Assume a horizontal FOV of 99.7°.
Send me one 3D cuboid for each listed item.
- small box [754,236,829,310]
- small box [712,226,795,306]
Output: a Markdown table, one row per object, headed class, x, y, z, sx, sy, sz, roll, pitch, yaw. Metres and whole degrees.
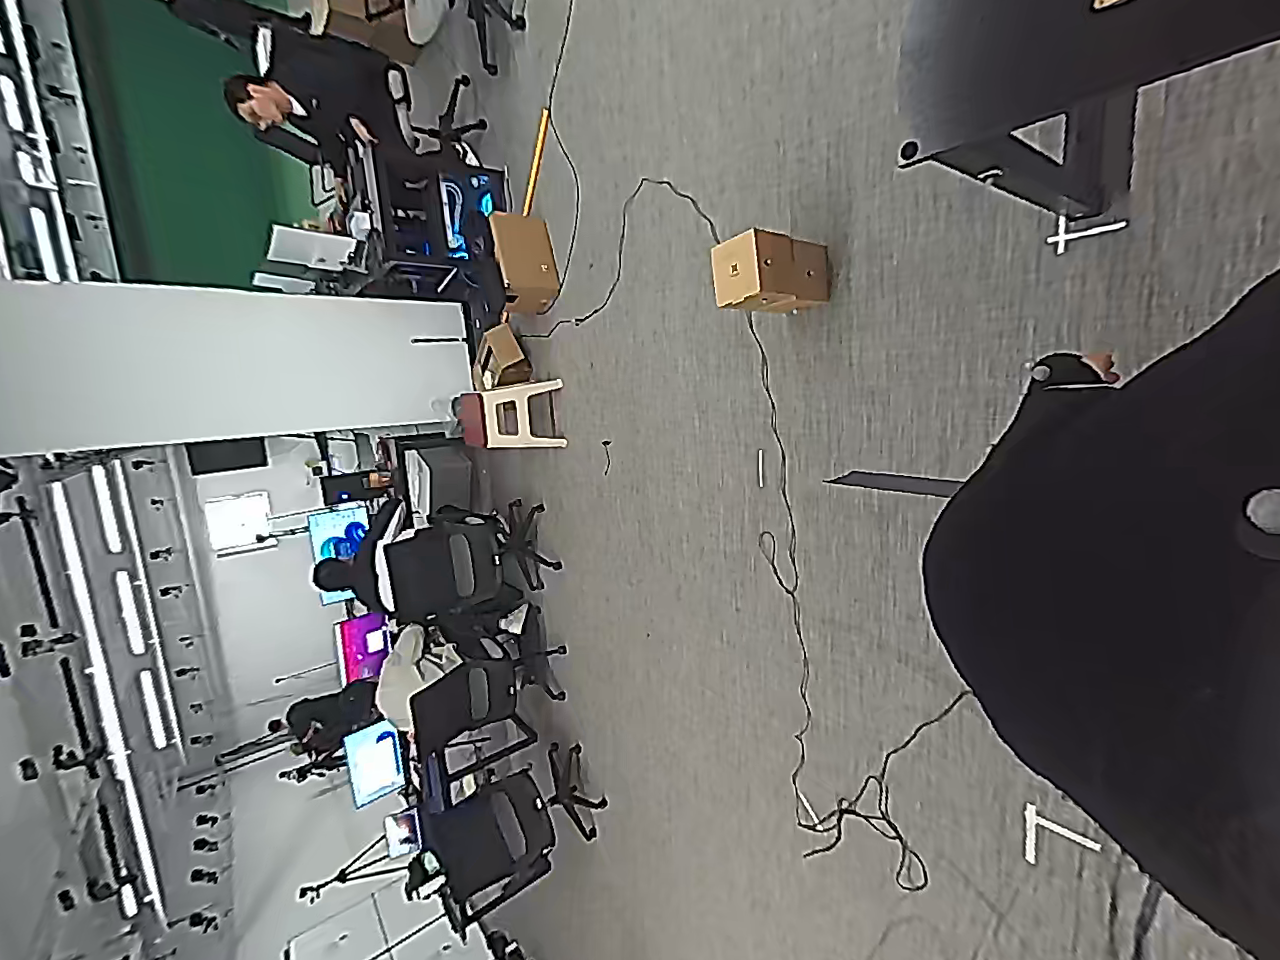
| class | x | y | z | sx | sy | sz | roll | pitch | yaw |
| --- | --- | --- | --- | --- | --- | --- | --- | --- | --- |
| small box | 0.464 | -0.630 | 1.668 | 0.168 | 0.176 | 0.179 | 4 | 102 | 53 |
| small box | 0.334 | -0.612 | 1.572 | 0.168 | 0.176 | 0.179 | -2 | 96 | 52 |
